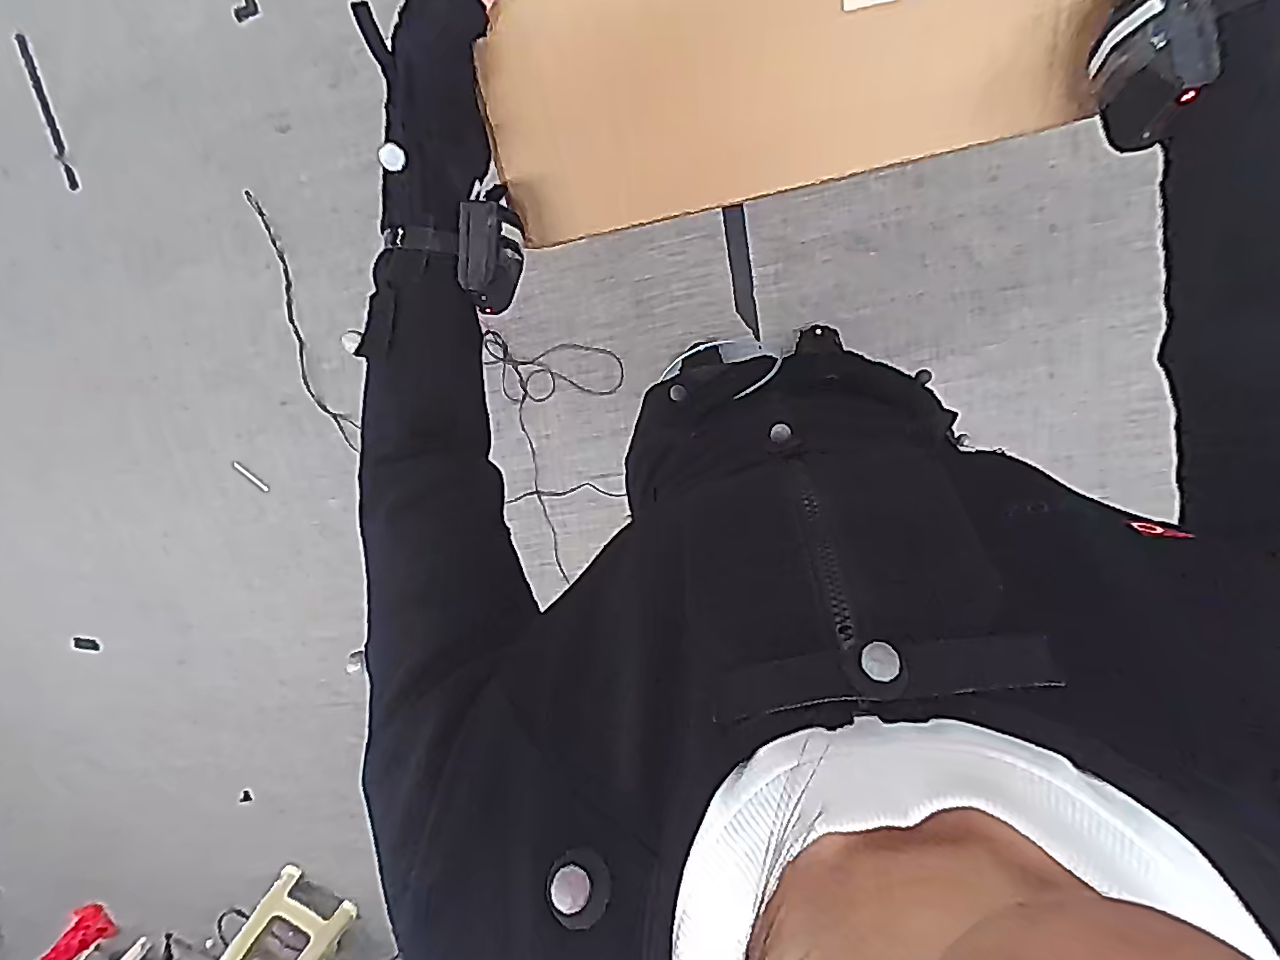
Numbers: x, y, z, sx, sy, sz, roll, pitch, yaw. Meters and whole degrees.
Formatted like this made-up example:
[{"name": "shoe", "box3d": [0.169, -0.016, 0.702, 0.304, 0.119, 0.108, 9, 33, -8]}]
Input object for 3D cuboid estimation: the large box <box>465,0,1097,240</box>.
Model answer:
[{"name": "large box", "box3d": [0.080, -0.421, 0.460, 0.408, 0.320, 0.320, -10, 117, 8]}]
